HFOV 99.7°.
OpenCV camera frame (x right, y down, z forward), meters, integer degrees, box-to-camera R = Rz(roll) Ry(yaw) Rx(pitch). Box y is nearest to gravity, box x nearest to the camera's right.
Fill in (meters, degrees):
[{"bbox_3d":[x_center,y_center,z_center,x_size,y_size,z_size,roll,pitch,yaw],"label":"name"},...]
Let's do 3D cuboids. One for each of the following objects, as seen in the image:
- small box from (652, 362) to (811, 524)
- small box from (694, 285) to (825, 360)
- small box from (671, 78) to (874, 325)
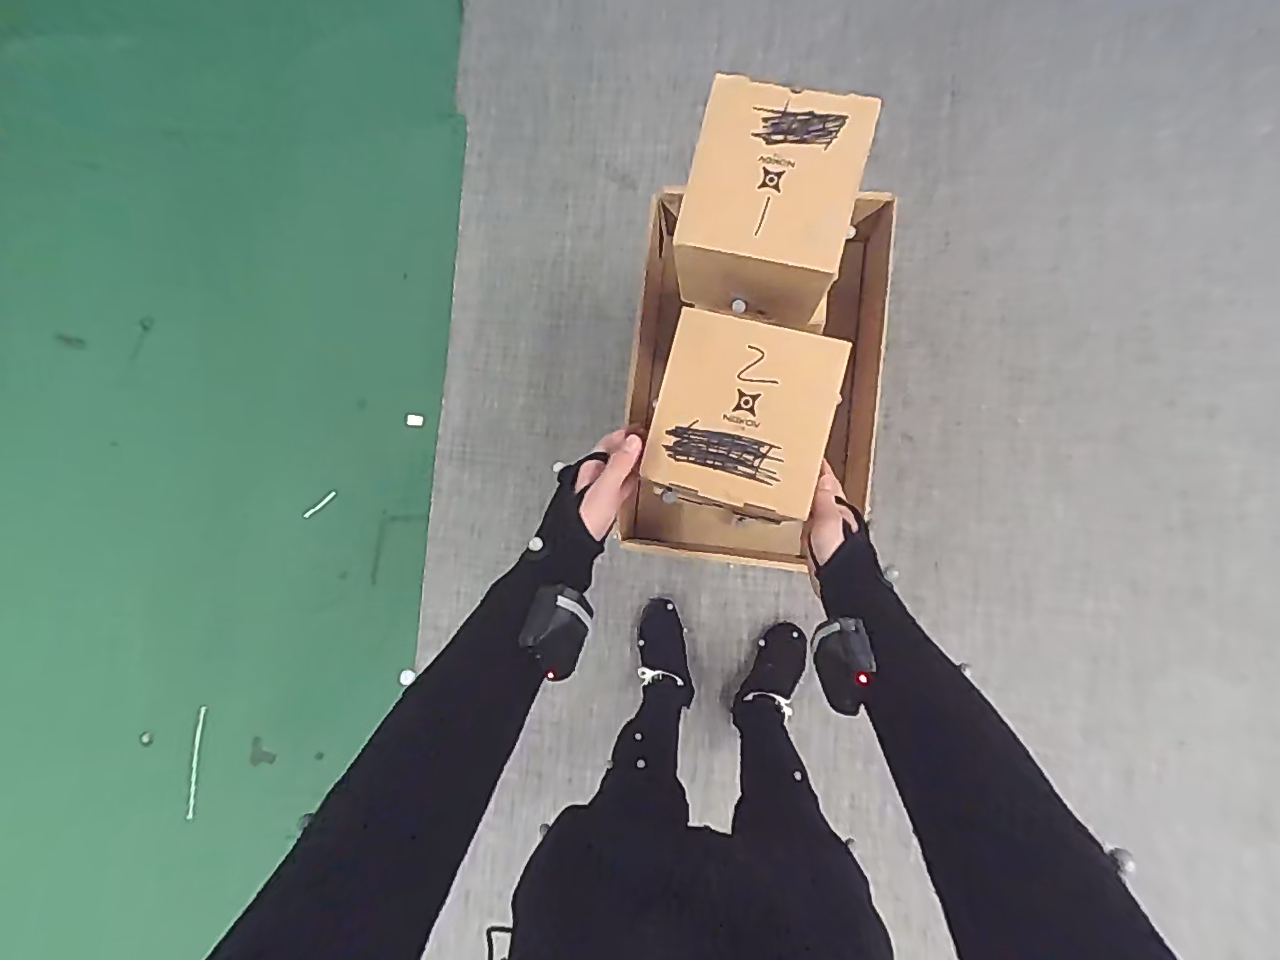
[{"bbox_3d":[0.125,-0.042,0.758,0.168,0.176,0.179,15,87,8],"label":"small box"},{"bbox_3d":[0.167,-0.285,0.775,0.168,0.176,0.179,5,88,8],"label":"small box"},{"bbox_3d":[0.139,-0.299,0.613,0.168,0.176,0.179,15,90,9],"label":"small box"}]
